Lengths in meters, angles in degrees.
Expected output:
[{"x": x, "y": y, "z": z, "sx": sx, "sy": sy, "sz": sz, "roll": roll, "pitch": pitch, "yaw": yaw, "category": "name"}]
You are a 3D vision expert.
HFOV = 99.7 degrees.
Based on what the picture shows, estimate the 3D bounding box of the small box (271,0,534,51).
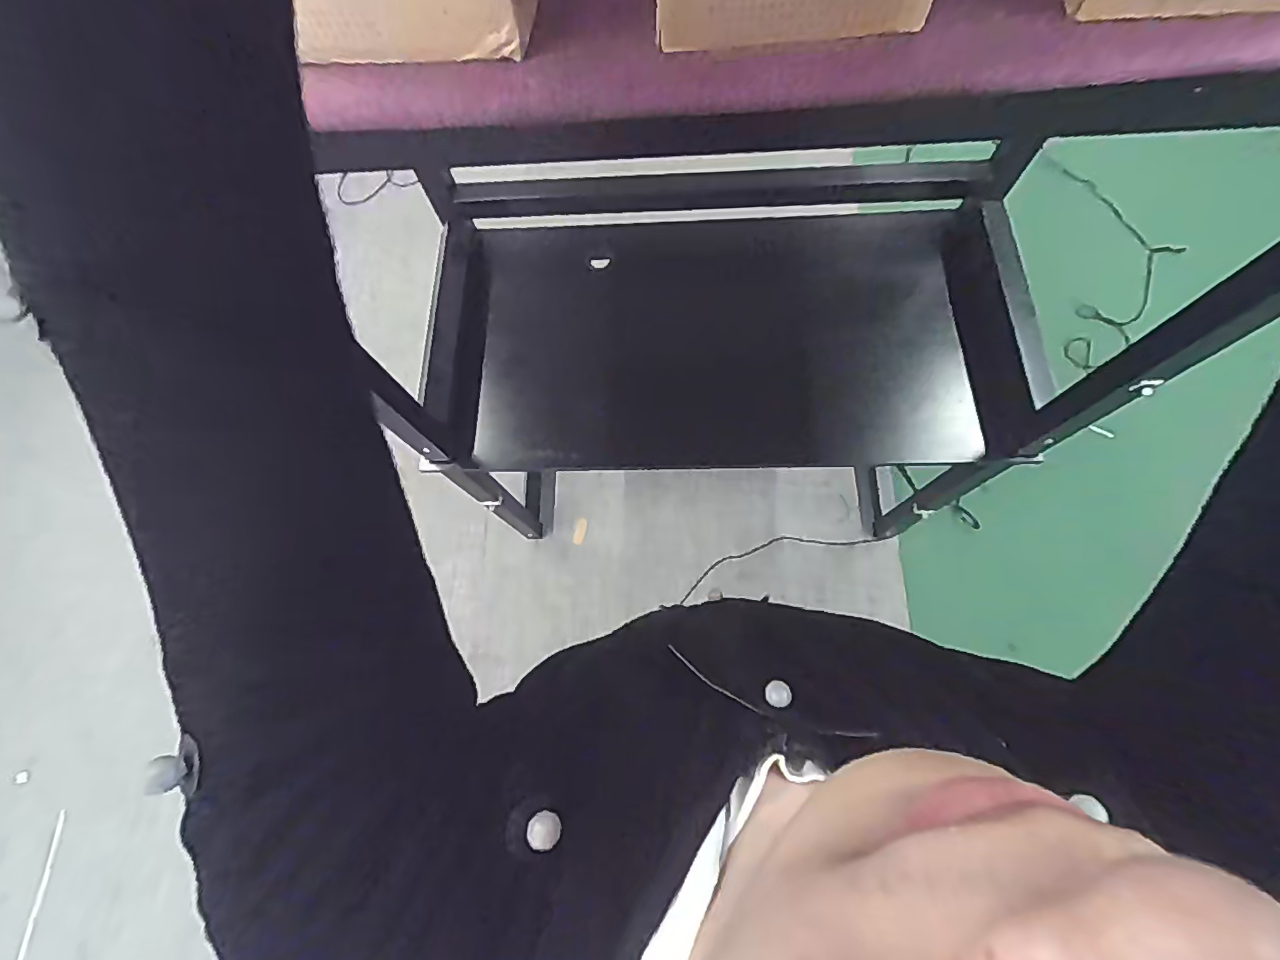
[{"x": -0.165, "y": -0.407, "z": 0.335, "sx": 0.179, "sy": 0.176, "sz": 0.168, "roll": 4, "pitch": 71, "yaw": 4, "category": "small box"}]
